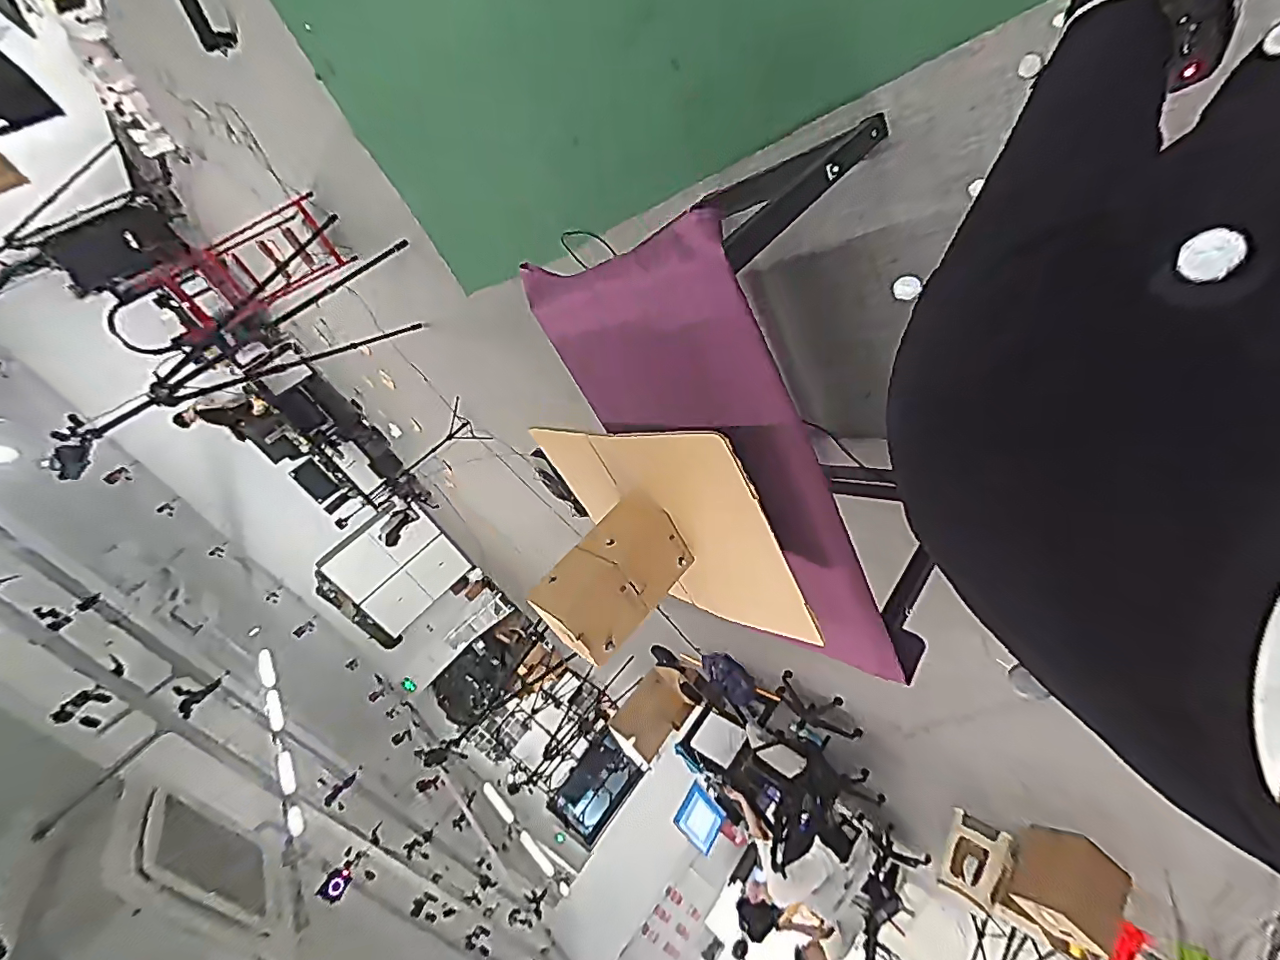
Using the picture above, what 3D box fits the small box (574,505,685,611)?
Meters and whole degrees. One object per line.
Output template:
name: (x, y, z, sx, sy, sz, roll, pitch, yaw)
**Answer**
small box: (-0.016, 0.177, 1.281, 0.179, 0.176, 0.168, 7, 136, 52)
